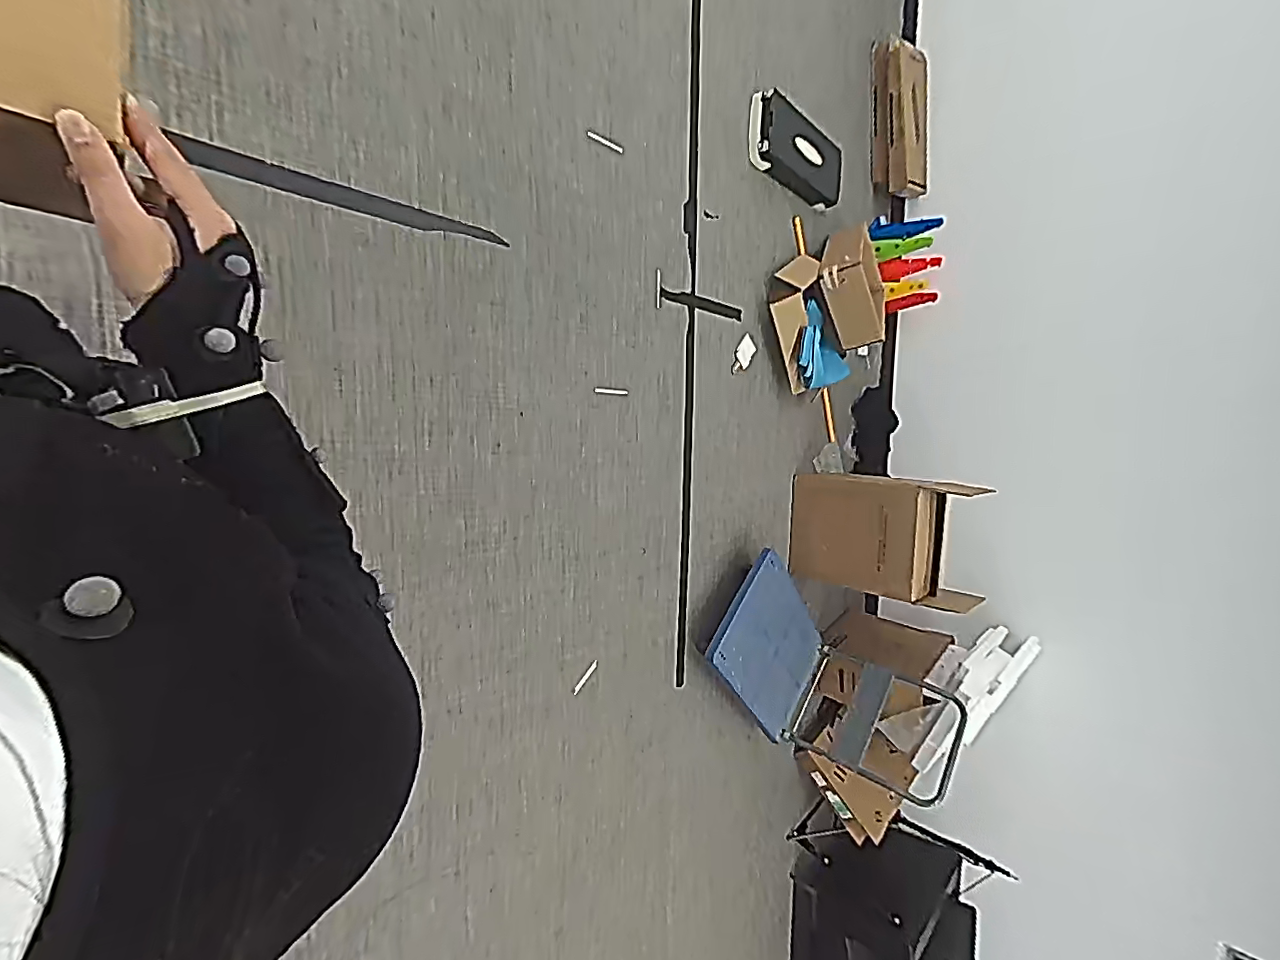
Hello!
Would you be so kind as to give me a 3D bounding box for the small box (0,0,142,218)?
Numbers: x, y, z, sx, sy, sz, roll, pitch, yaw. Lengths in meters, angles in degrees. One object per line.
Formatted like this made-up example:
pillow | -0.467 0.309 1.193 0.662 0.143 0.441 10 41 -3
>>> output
small box | -0.401 -0.273 0.303 0.179 0.176 0.168 1 92 -43
